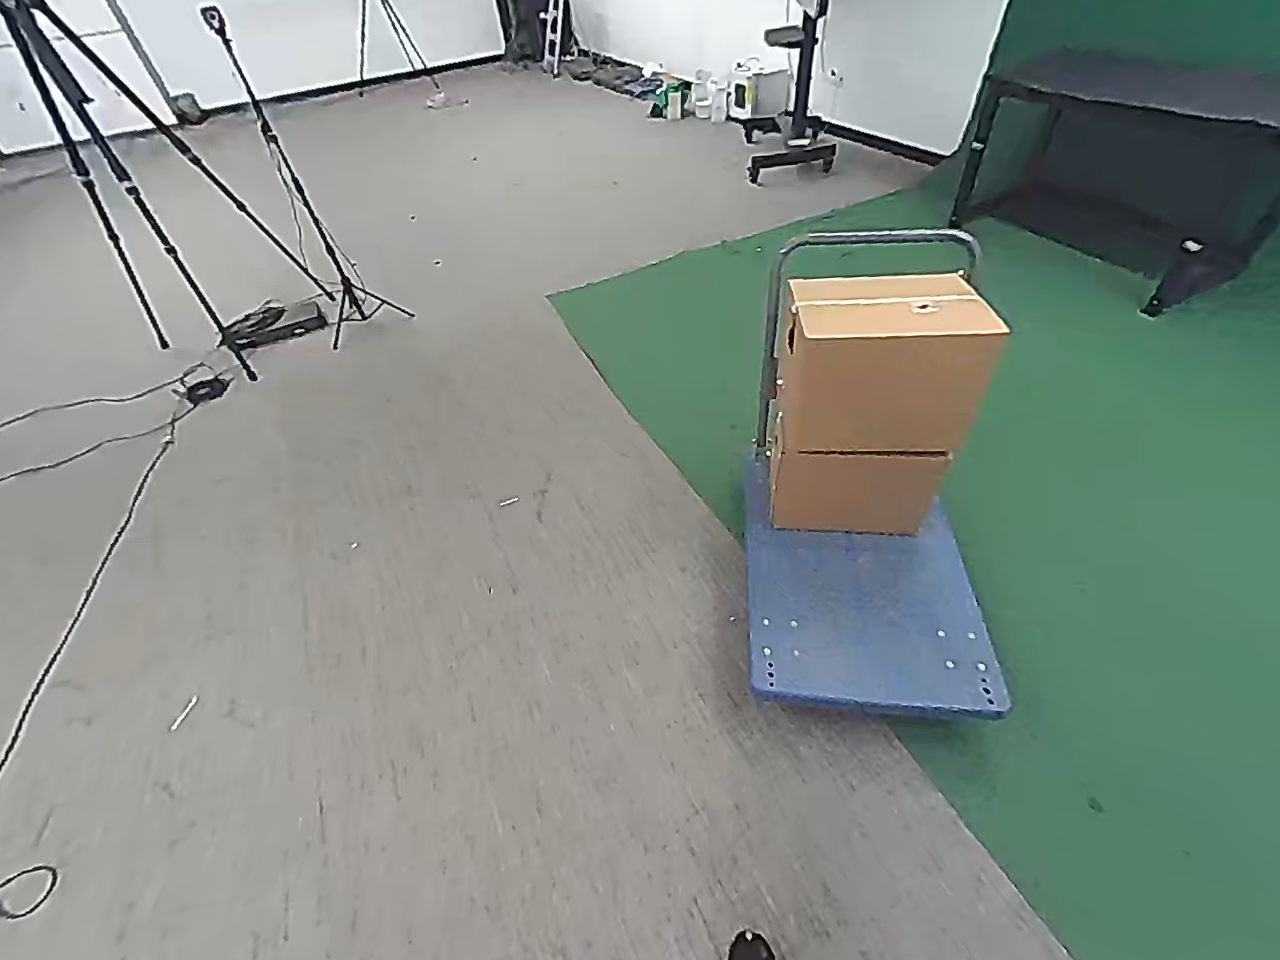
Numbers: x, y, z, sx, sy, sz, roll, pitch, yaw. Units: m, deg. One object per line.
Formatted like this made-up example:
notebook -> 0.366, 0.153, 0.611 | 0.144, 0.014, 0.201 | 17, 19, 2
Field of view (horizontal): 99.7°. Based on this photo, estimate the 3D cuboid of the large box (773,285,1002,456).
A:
large box -> 0.560, -0.266, 1.323 | 0.408, 0.320, 0.320 | 1, 41, 6
